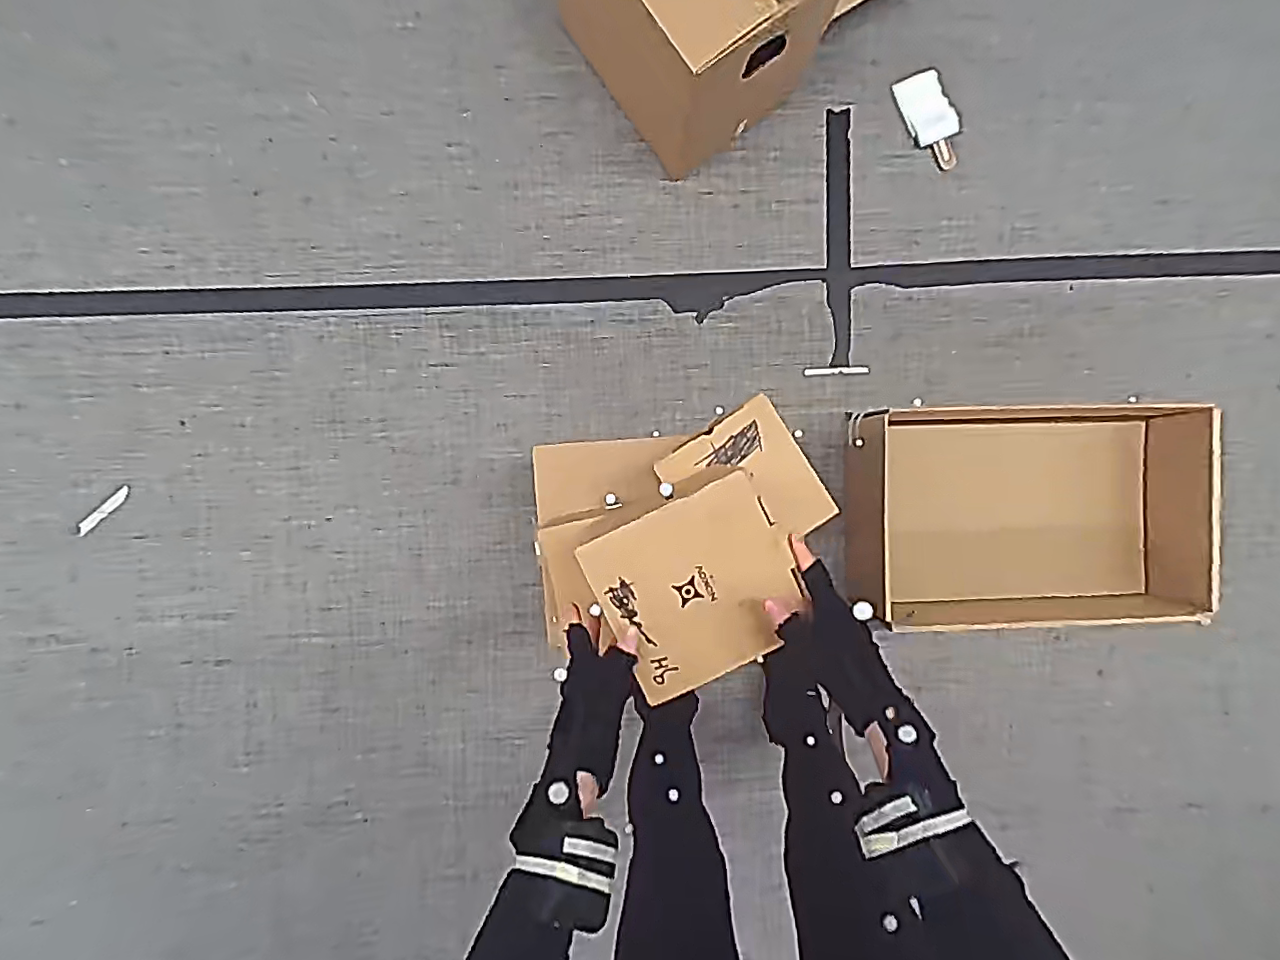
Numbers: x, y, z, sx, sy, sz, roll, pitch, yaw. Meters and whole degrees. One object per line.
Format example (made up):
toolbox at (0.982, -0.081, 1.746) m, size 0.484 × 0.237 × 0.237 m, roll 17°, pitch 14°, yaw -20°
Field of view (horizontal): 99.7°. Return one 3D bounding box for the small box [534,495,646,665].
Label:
small box at (-0.033, 0.122, 0.732) m, size 0.168 × 0.176 × 0.179 m, roll -13°, pitch 90°, yaw -3°

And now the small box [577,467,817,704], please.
small box at (0.050, 0.092, 0.568) m, size 0.179 × 0.176 × 0.168 m, roll -26°, pitch 93°, yaw 0°

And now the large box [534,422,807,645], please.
large box at (0.043, 0.078, 0.974) m, size 0.408 × 0.320 × 0.320 m, roll -5°, pitch 92°, yaw -2°
